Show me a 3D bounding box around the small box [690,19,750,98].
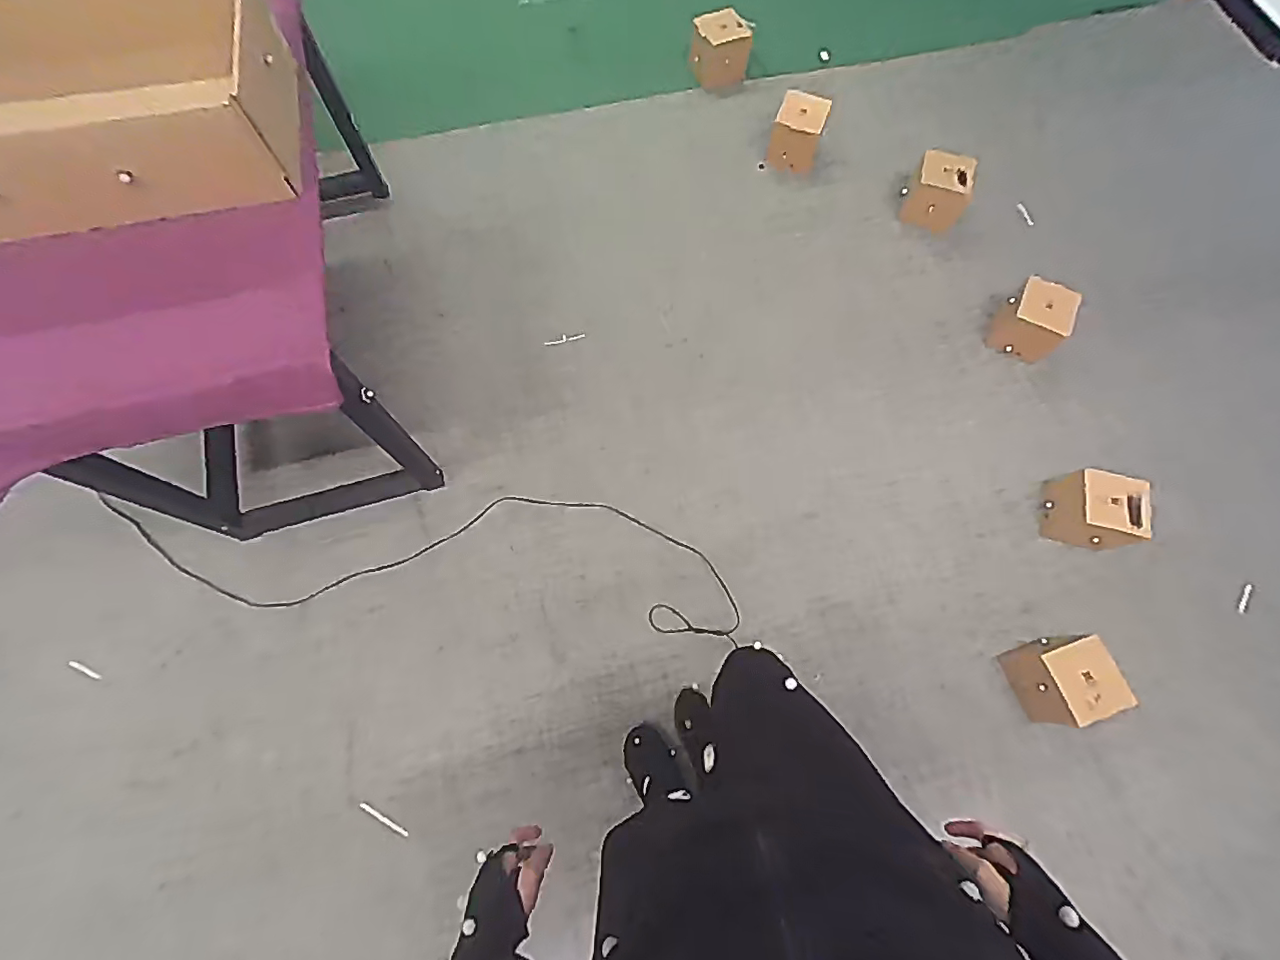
[{"bbox_3d":[0.305,-1.640,2.112,0.179,0.176,0.168,-24,73,-9],"label":"small box"}]

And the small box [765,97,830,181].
[{"bbox_3d":[0.572,-1.244,1.979,0.168,0.176,0.179,20,73,6],"label":"small box"}]

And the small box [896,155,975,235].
[{"bbox_3d":[1.035,-0.995,1.899,0.179,0.176,0.168,16,71,5],"label":"small box"}]

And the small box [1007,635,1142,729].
[{"bbox_3d":[1.085,0.510,1.370,0.168,0.176,0.179,-18,72,-6],"label":"small box"}]
